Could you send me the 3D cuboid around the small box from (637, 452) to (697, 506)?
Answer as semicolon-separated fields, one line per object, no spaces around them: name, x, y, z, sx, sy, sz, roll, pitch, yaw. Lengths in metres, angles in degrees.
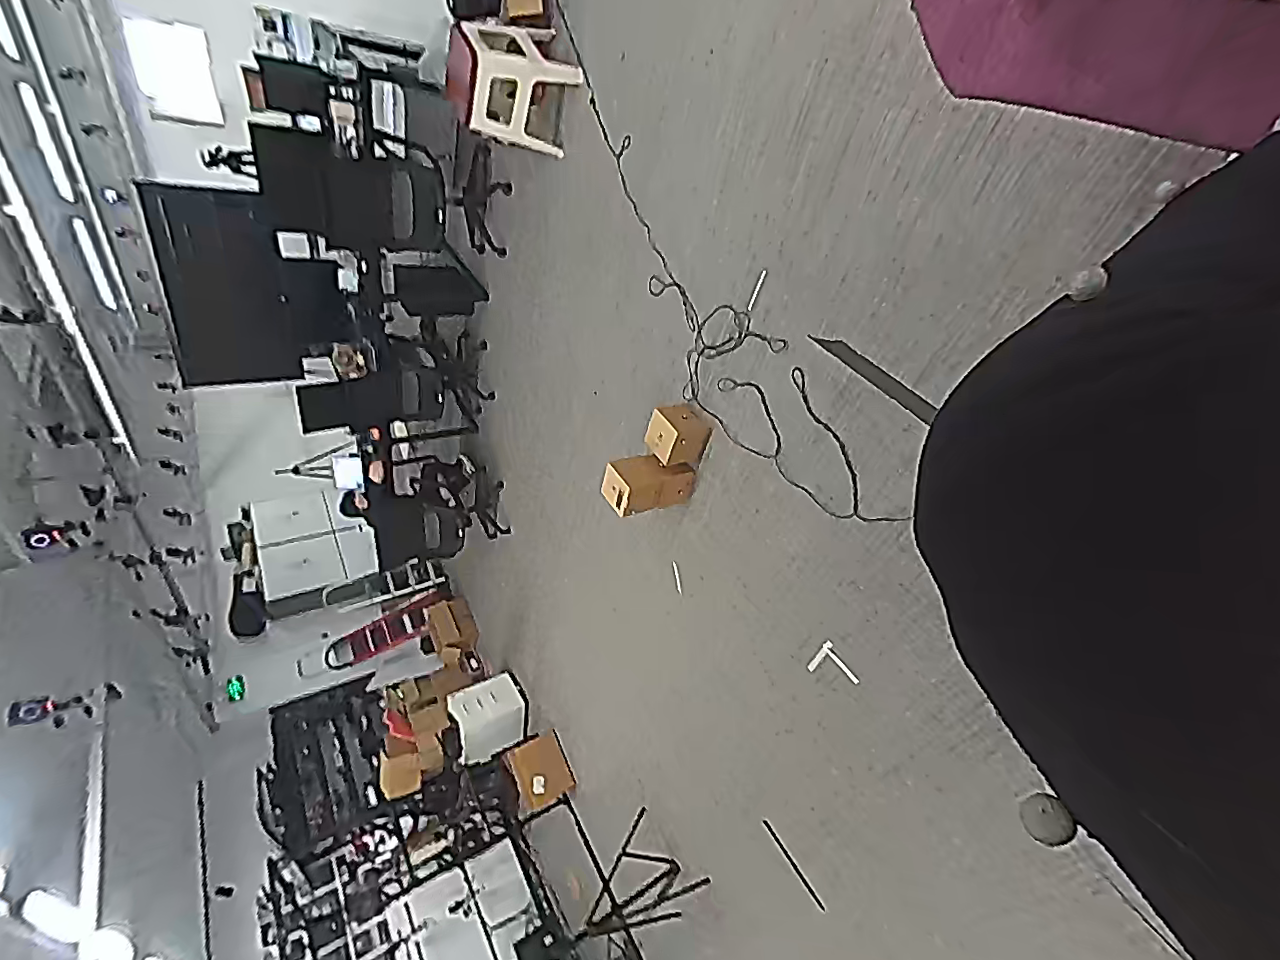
small box;0.112;-0.014;2.306;0.179;0.176;0.168;46;137;38

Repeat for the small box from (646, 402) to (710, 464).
small box;0.154;-0.195;2.164;0.168;0.176;0.179;53;142;33
